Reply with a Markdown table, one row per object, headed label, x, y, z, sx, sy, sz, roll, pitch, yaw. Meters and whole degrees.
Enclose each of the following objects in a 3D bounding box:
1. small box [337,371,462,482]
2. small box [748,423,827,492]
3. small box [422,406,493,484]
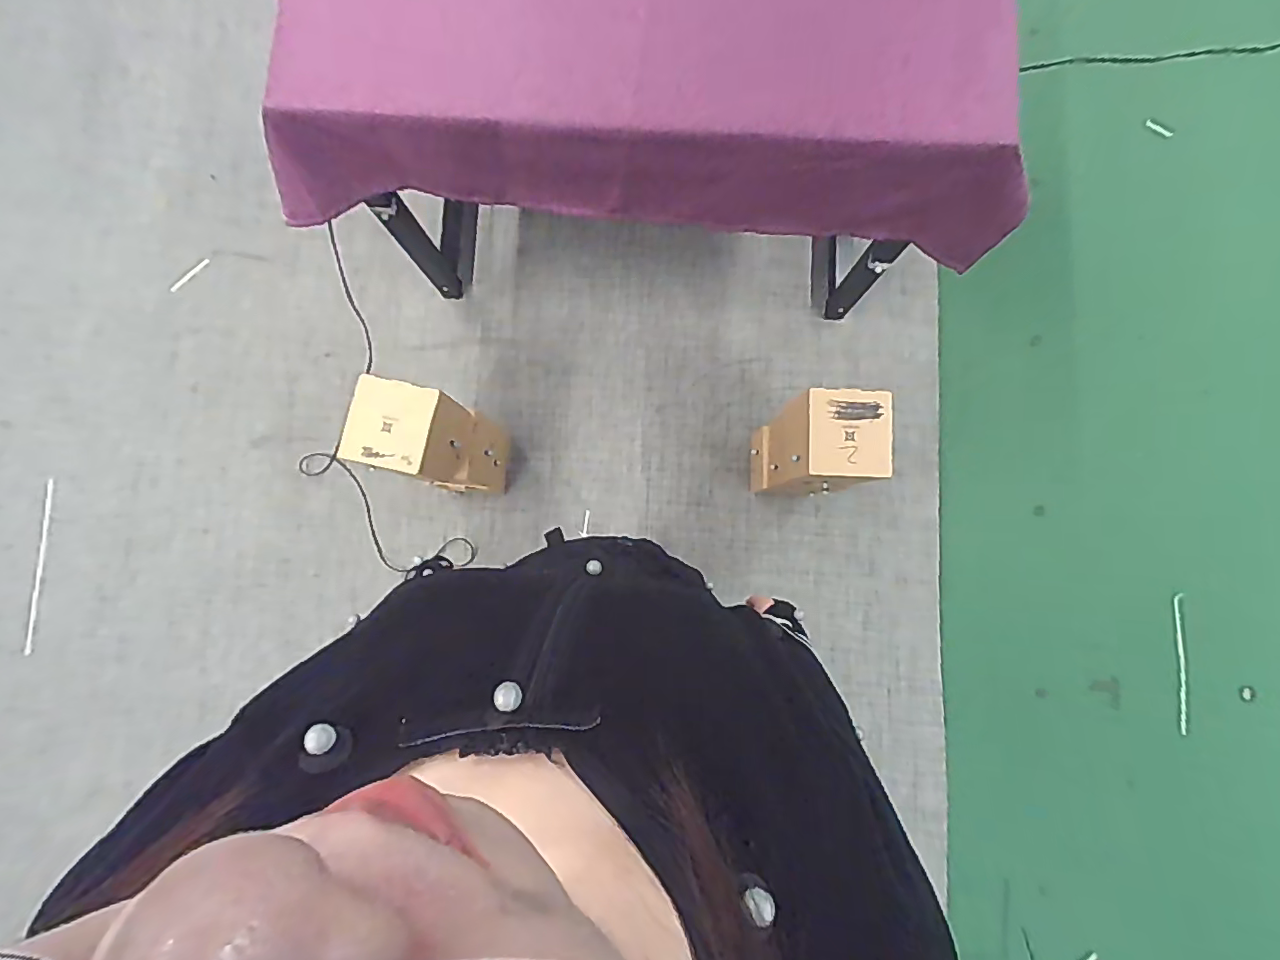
| label | x | y | z | sx | sy | sz | roll | pitch | yaw |
| --- | --- | --- | --- | --- | --- | --- | --- | --- | --- |
| small box | -0.490 | -0.105 | 1.135 | 0.168 | 0.176 | 0.179 | 13 | 83 | 2 |
| small box | 0.392 | -0.057 | 1.468 | 0.179 | 0.176 | 0.168 | 1 | 85 | -1 |
| small box | -0.469 | -0.085 | 1.298 | 0.179 | 0.176 | 0.168 | 5 | 84 | 0 |
